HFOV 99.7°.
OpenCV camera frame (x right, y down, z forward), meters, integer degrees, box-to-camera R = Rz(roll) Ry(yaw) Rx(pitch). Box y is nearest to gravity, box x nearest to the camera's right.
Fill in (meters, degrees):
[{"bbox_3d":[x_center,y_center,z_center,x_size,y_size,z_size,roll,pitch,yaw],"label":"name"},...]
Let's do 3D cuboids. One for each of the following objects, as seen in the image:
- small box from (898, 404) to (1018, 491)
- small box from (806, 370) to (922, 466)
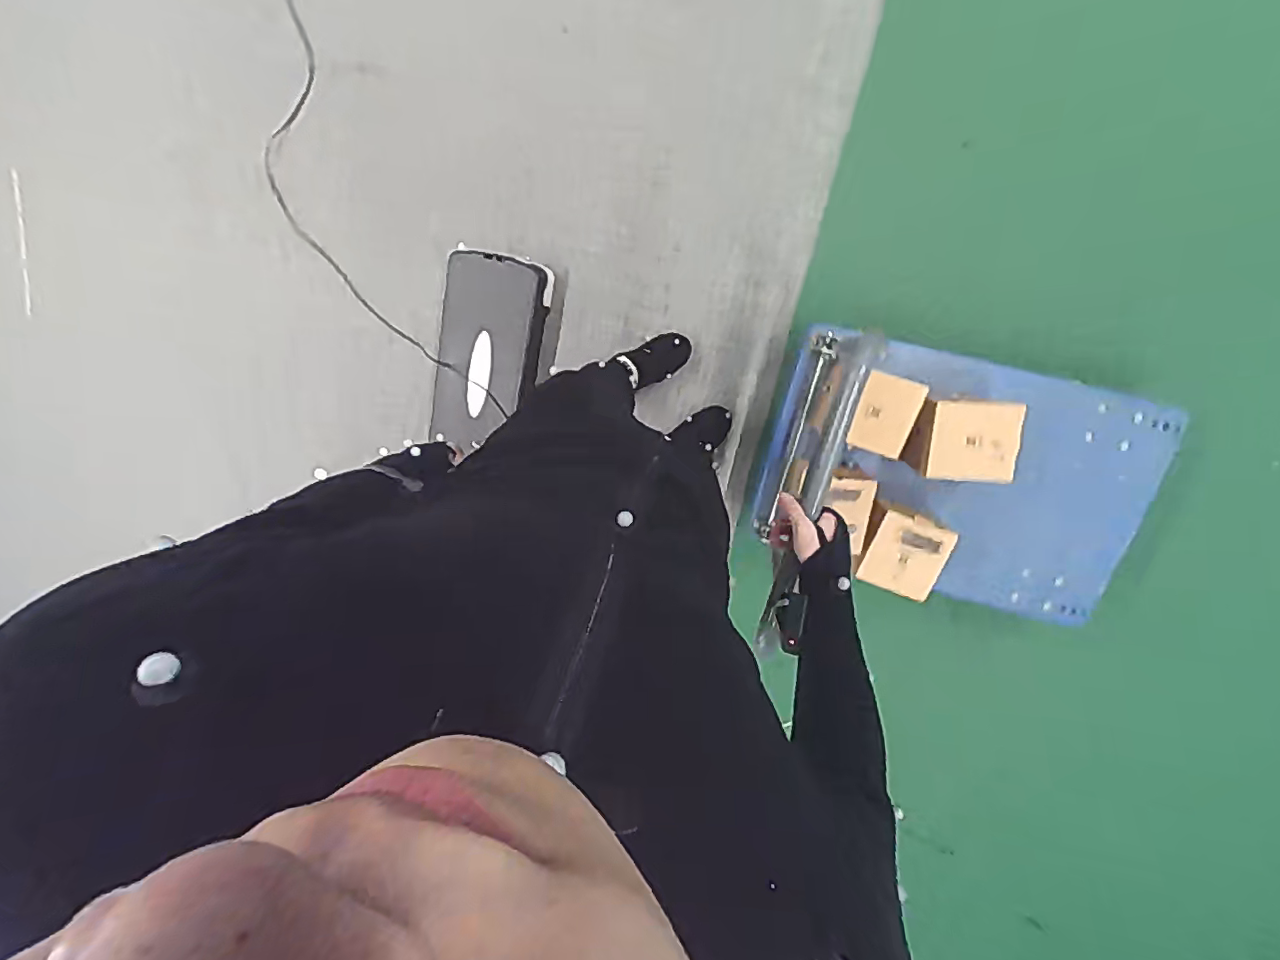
[{"bbox_3d":[0.704,-0.080,1.223,0.179,0.176,0.168,4,104,8],"label":"small box"},{"bbox_3d":[0.502,-0.150,1.241,0.179,0.176,0.168,19,106,4],"label":"small box"}]
